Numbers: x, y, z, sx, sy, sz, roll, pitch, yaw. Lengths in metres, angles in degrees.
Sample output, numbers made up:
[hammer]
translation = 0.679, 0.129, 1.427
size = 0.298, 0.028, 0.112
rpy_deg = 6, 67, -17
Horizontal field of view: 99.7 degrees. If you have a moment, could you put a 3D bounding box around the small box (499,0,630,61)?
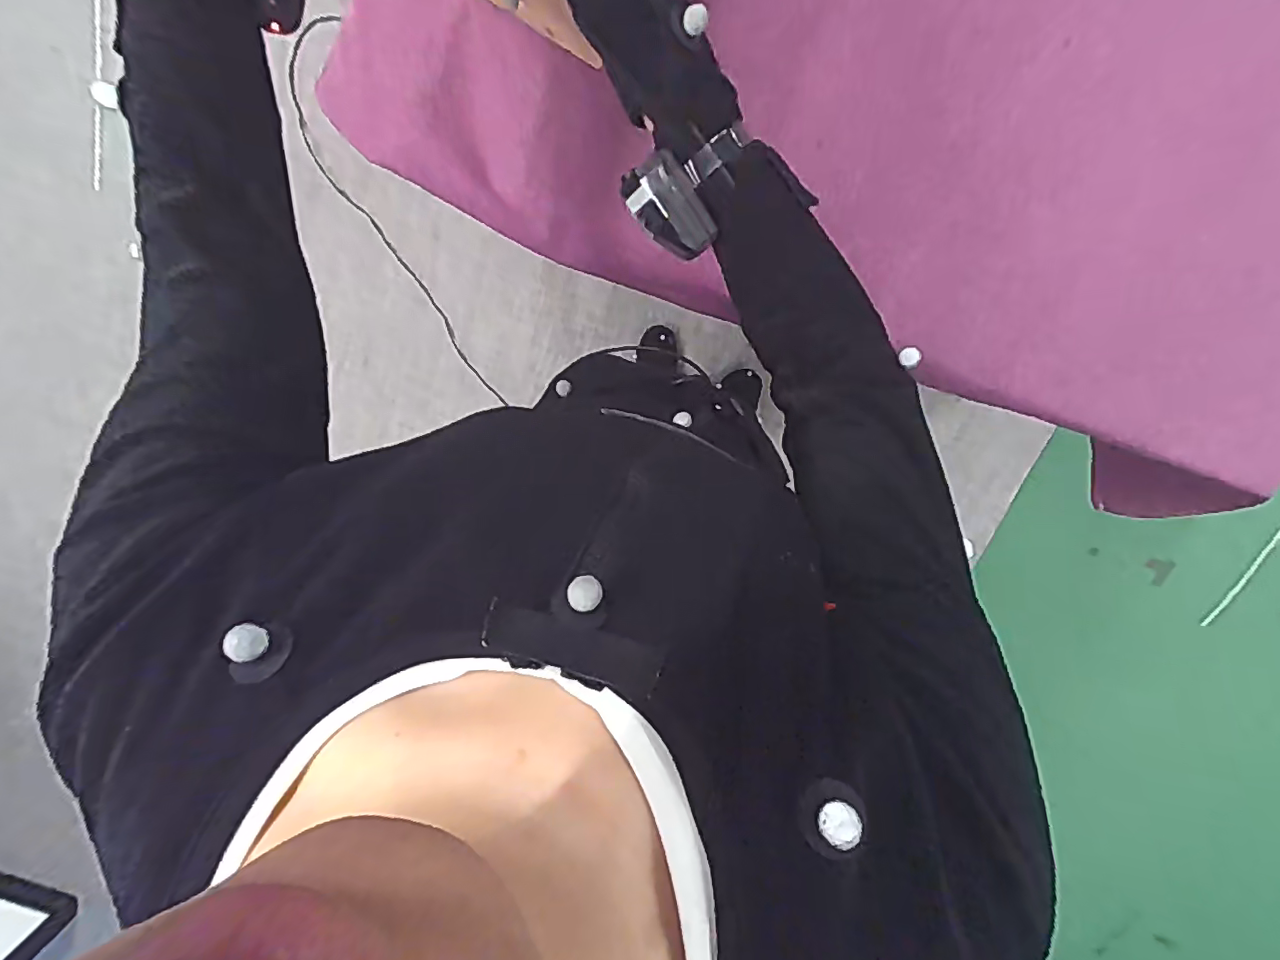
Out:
[small box]
translation = -0.078, -0.535, 0.487
size = 0.168, 0.176, 0.179
rpy_deg = 29, 108, -5
